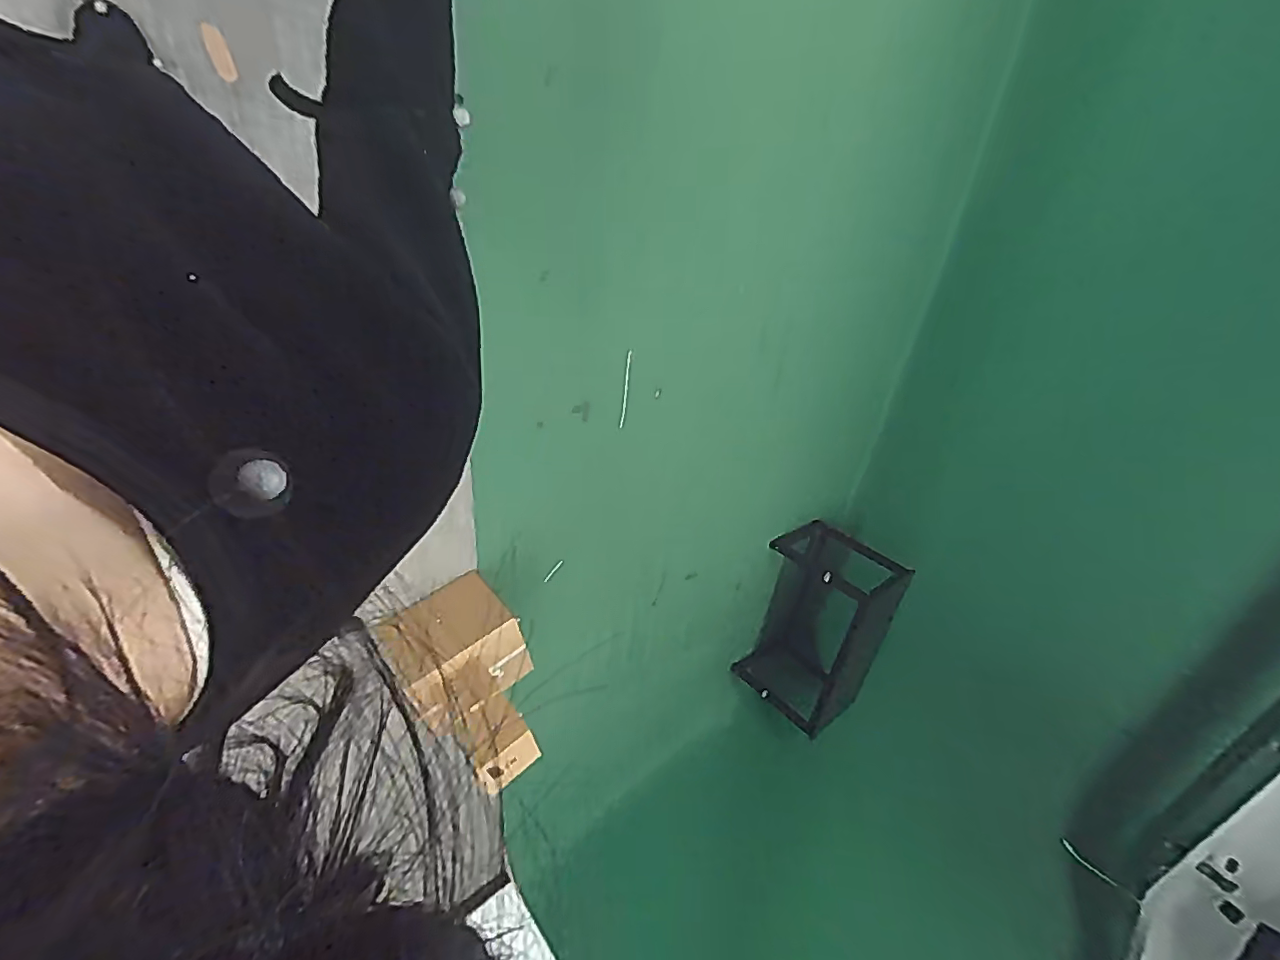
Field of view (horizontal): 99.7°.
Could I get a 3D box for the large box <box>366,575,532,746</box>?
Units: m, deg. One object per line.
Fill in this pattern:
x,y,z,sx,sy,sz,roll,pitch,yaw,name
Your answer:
-0.657,0.614,1.889,0.408,0.320,0.320,-32,136,-29,large box

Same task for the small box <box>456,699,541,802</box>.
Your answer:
-0.424,0.797,1.603,0.179,0.176,0.168,-32,134,-28,small box

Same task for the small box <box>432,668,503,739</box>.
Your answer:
-0.529,0.725,1.706,0.168,0.176,0.179,-31,134,-29,small box
